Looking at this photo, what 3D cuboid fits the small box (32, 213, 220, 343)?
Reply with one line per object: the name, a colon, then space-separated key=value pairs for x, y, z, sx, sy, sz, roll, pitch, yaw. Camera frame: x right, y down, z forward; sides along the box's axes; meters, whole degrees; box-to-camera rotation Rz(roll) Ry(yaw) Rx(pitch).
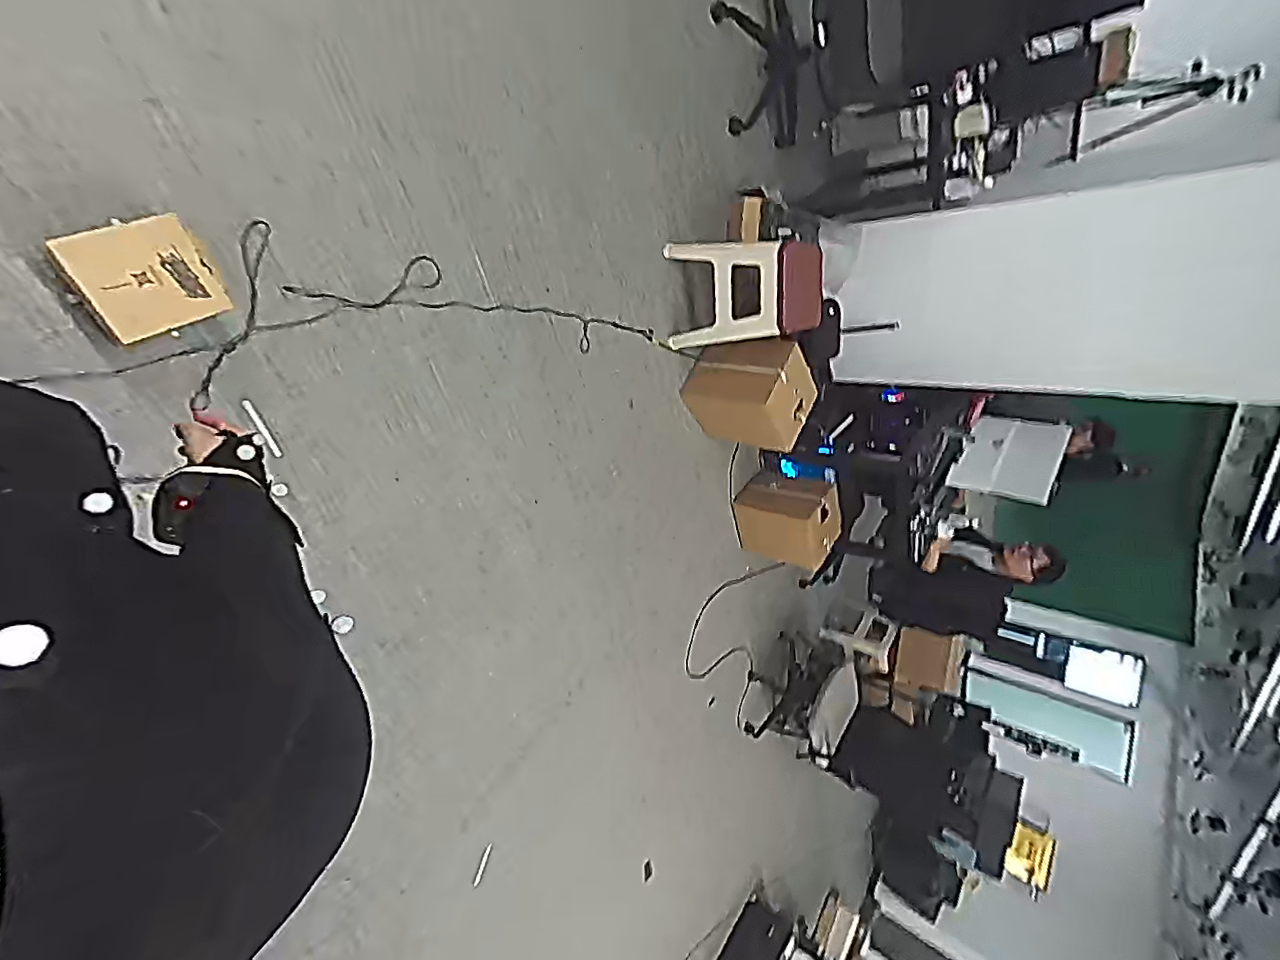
small box: x=-0.888 y=-0.347 z=0.938 sx=0.179 sy=0.176 sz=0.168 roll=-40 pitch=126 yaw=-35
